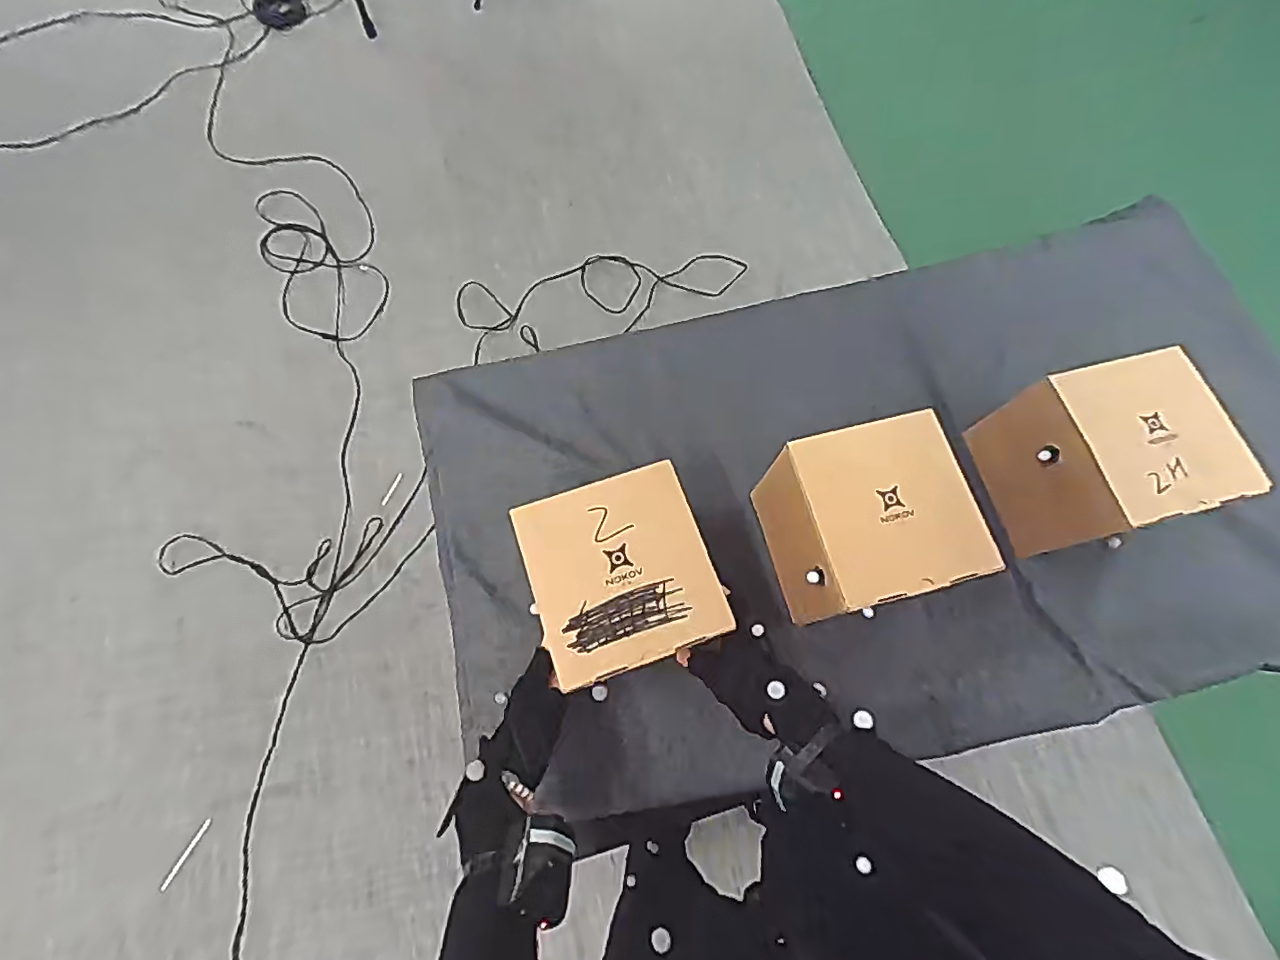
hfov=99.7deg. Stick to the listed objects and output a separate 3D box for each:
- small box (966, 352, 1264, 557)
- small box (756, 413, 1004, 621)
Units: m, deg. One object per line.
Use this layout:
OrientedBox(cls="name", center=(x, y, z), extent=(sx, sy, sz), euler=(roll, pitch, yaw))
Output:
OrientedBox(cls="small box", center=(0.534, -0.022, 0.643), extent=(0.168, 0.176, 0.179), euler=(-13, 73, -6))
OrientedBox(cls="small box", center=(0.247, 0.050, 0.609), extent=(0.168, 0.176, 0.179), euler=(-13, 73, -7))
